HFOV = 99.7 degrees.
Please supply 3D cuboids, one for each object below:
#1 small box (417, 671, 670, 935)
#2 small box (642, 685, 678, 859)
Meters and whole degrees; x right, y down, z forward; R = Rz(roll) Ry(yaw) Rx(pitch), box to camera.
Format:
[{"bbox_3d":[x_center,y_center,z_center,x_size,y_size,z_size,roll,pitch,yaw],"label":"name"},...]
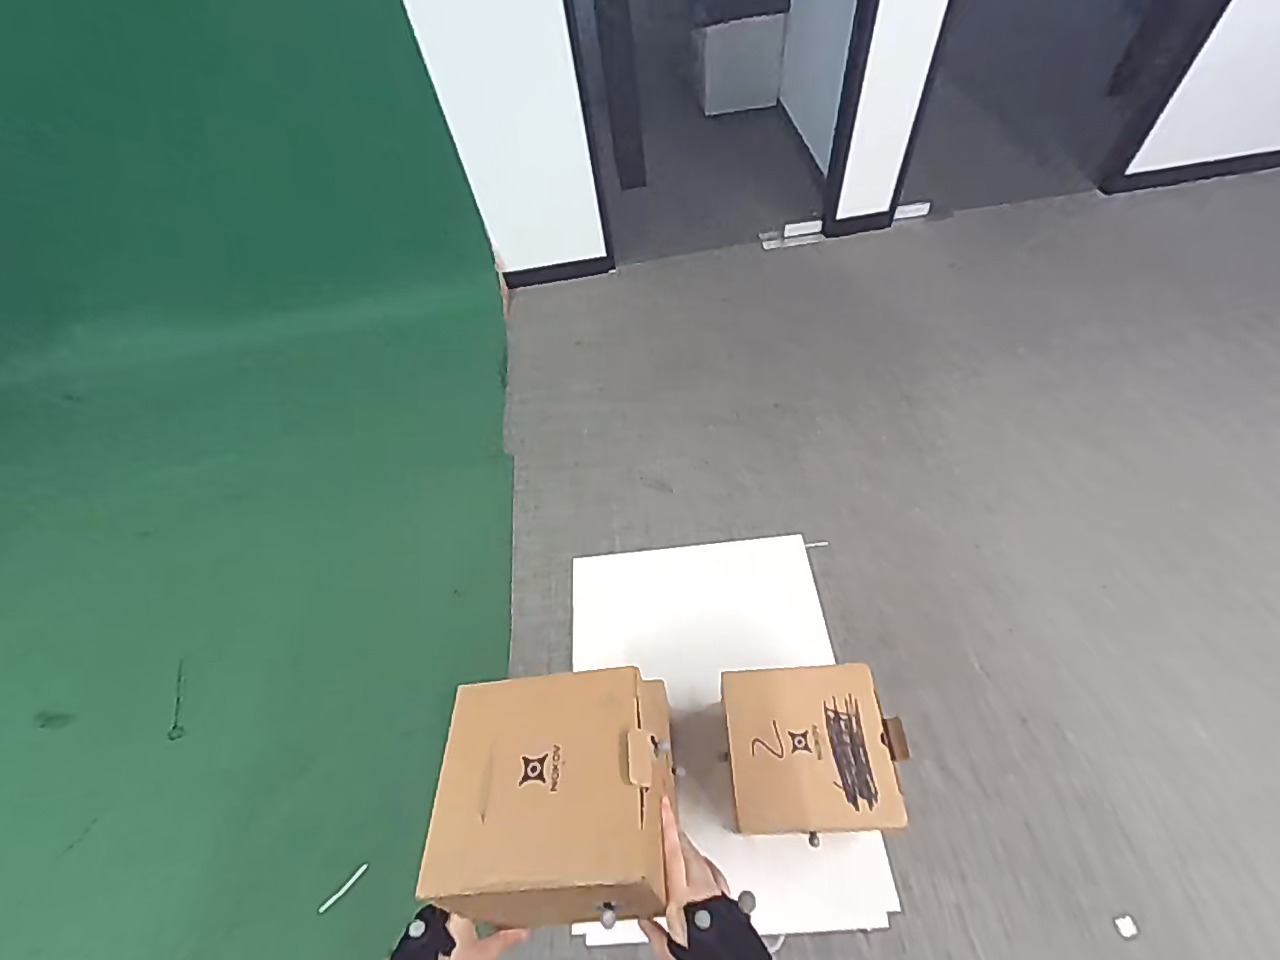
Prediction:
[{"bbox_3d":[-0.069,0.301,0.502,0.179,0.176,0.168,-9,42,5],"label":"small box"},{"bbox_3d":[-0.042,0.368,0.671,0.168,0.176,0.179,-5,55,2],"label":"small box"}]
